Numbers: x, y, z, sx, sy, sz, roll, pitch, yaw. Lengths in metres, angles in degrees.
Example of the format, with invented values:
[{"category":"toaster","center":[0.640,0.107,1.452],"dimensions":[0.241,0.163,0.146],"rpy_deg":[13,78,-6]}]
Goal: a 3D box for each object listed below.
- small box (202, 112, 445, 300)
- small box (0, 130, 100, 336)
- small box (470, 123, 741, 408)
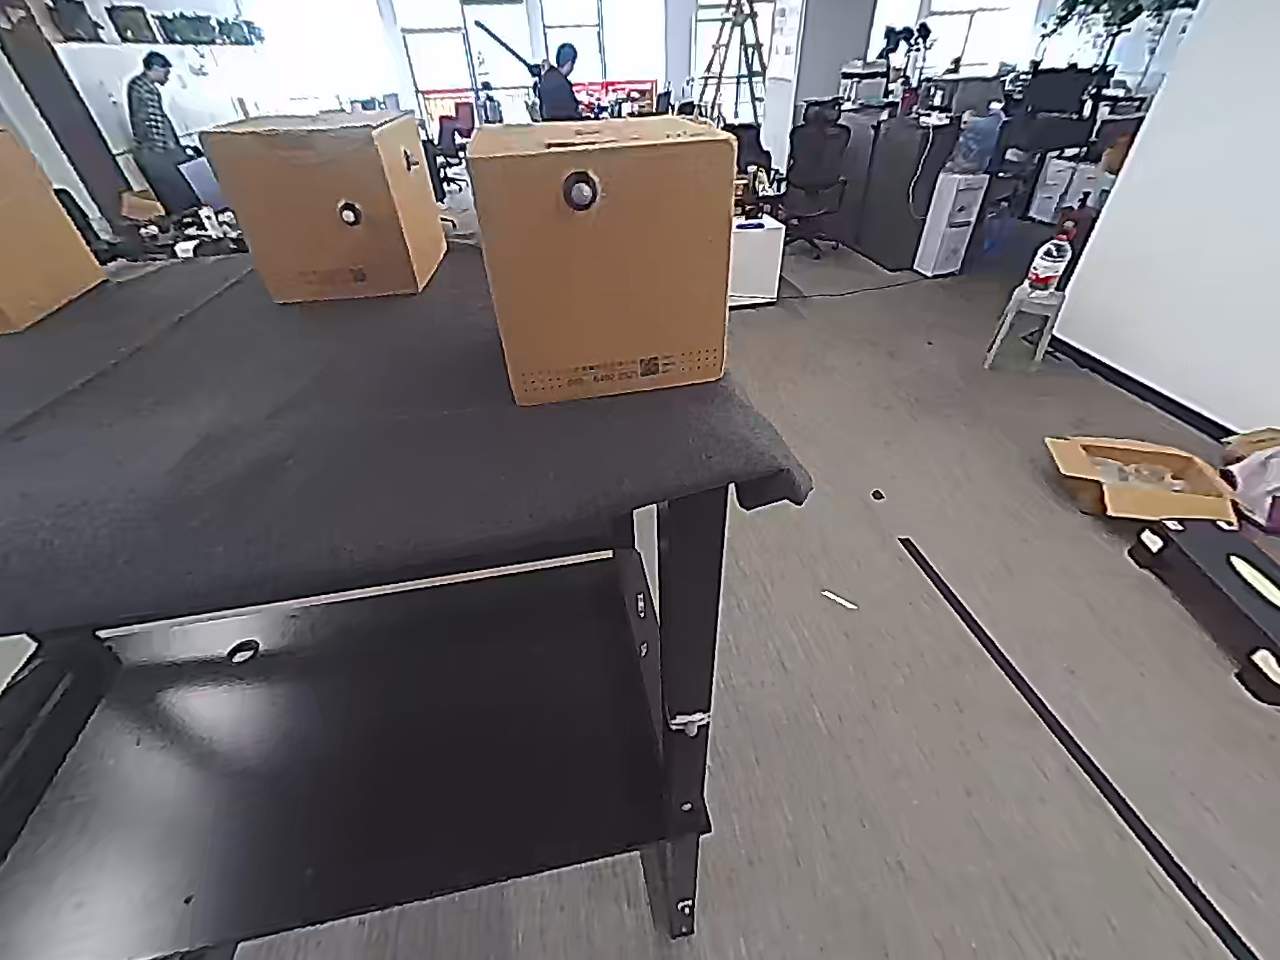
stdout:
[{"category":"small box","center":[-0.340,-0.316,0.630],"dimensions":[0.168,0.176,0.179],"rpy_deg":[-4,38,-4]},{"category":"small box","center":[-0.743,-0.254,0.568],"dimensions":[0.168,0.176,0.179],"rpy_deg":[-8,39,-8]},{"category":"small box","center":[-0.029,-0.176,0.432],"dimensions":[0.168,0.176,0.179],"rpy_deg":[-9,38,-7]}]
